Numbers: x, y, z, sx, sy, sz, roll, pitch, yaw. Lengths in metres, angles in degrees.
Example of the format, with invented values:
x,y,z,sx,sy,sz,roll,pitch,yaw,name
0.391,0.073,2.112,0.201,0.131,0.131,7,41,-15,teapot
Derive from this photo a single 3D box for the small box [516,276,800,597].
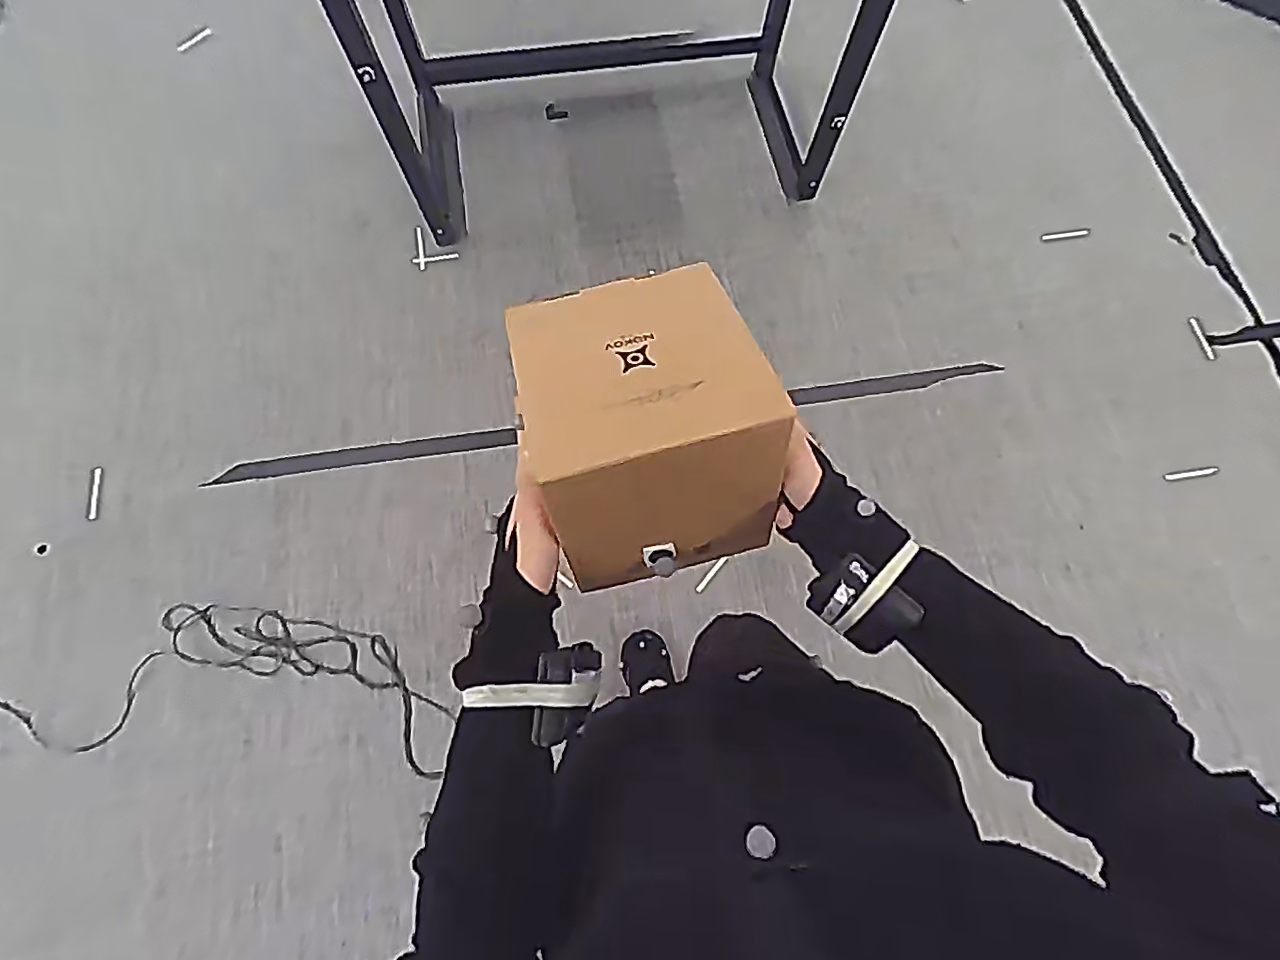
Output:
x,y,z,sx,sy,sz,roll,pitch,yaw,name
0.007,-0.032,0.442,0.168,0.176,0.179,-15,54,-4,small box
